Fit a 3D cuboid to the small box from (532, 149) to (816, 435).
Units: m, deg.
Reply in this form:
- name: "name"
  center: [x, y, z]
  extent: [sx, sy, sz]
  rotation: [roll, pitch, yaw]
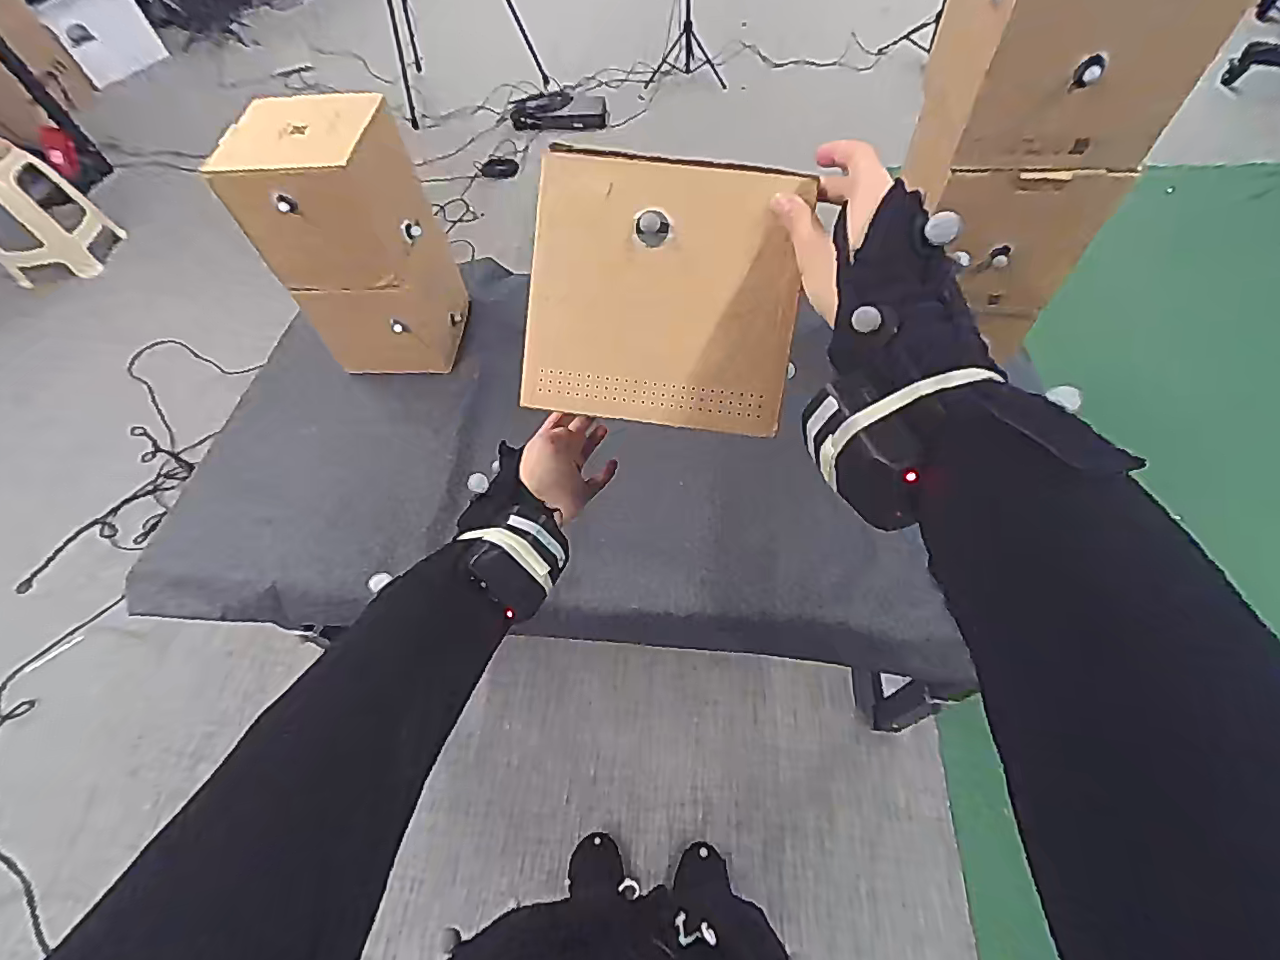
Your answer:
- name: "small box"
  center: [0.023, -0.128, 0.426]
  extent: [0.179, 0.168, 0.176]
  rotation: [8, 99, 4]

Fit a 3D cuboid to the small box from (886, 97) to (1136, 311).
- name: "small box"
  center: [0.393, -0.313, 0.614]
  extent: [0.168, 0.176, 0.179]
  rotation: [5, 60, 8]

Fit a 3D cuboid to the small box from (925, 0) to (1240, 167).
- name: "small box"
  center: [0.374, -0.400, 0.475]
  extent: [0.168, 0.176, 0.179]
  rotation: [4, 59, 7]

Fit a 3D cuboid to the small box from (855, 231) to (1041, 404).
- name: "small box"
  center: [0.408, -0.230, 0.754]
  extent: [0.168, 0.176, 0.179]
  rotation: [5, 59, 8]

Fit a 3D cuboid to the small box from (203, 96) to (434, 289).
- name: "small box"
  center: [-0.401, -0.371, 0.712]
  extent: [0.179, 0.176, 0.168]
  rotation: [0, 60, 3]
